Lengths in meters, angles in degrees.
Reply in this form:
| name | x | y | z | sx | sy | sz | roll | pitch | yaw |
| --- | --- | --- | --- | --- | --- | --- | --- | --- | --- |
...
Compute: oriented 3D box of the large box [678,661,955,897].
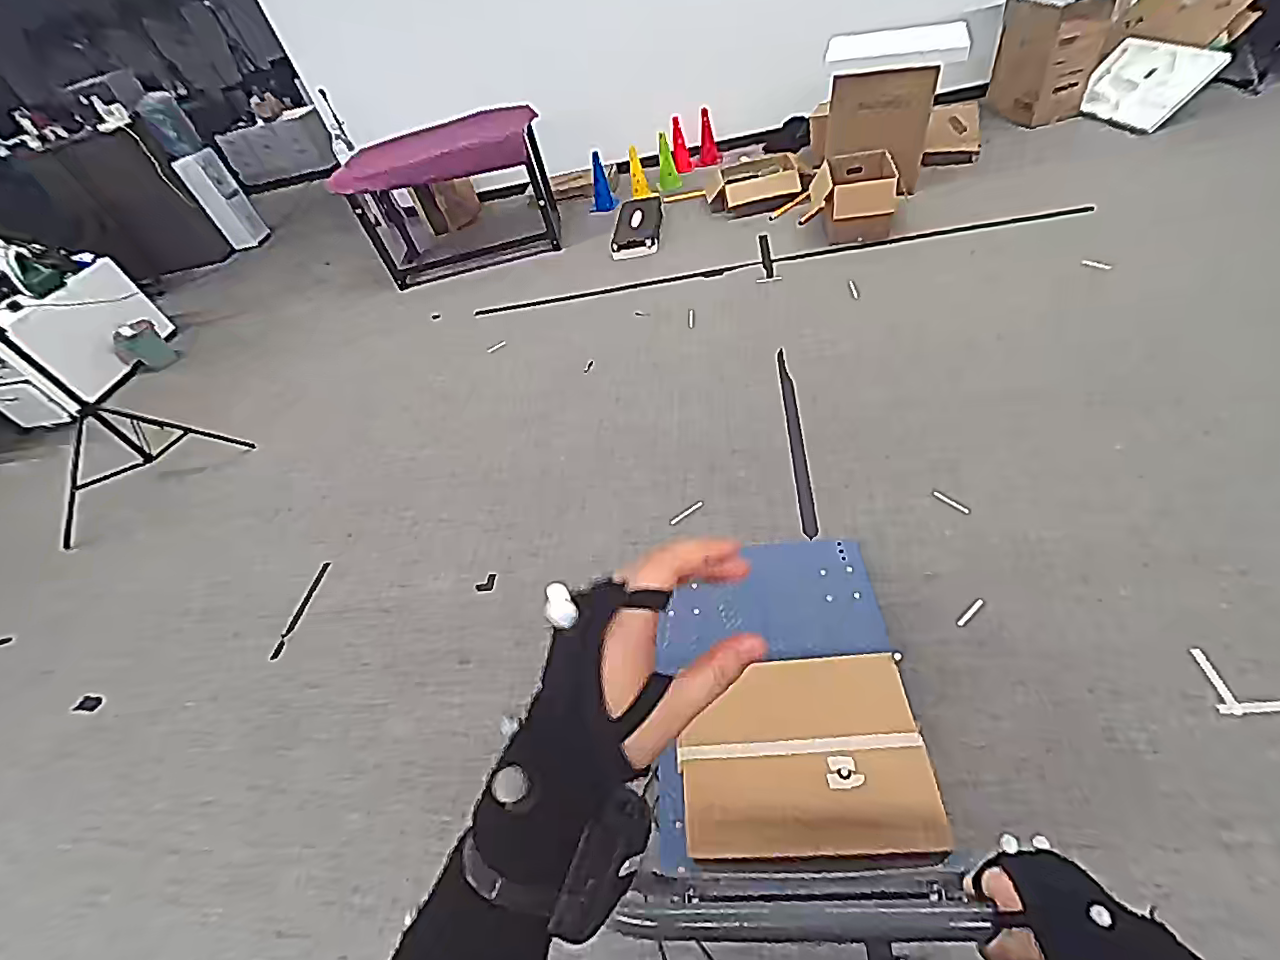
| name | x | y | z | sx | sy | sz | roll | pitch | yaw |
| --- | --- | --- | --- | --- | --- | --- | --- | --- | --- |
| large box | 0.297 | 0.573 | 1.024 | 0.408 | 0.320 | 0.320 | -8 | 47 | 8 |
